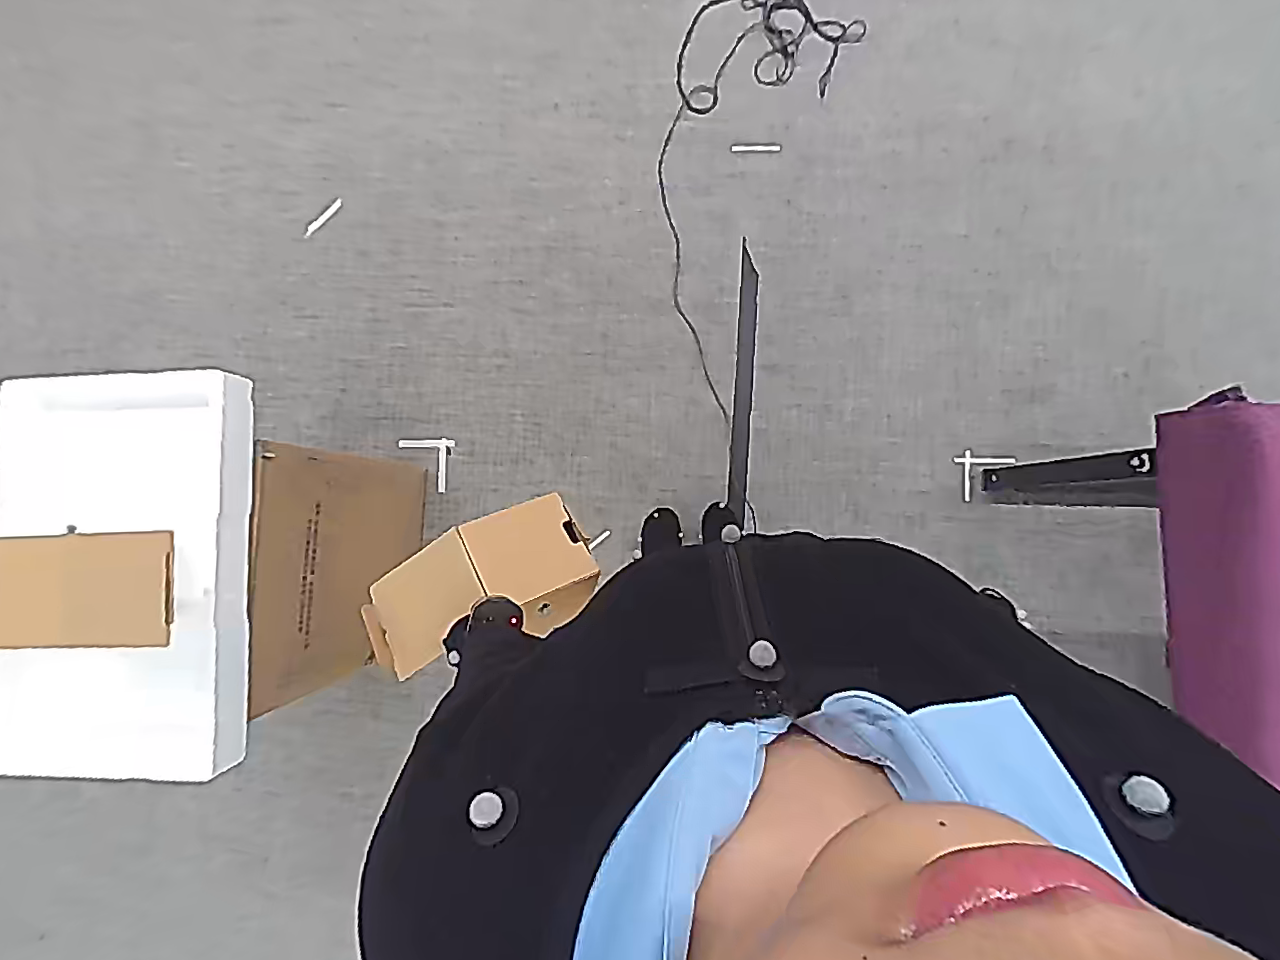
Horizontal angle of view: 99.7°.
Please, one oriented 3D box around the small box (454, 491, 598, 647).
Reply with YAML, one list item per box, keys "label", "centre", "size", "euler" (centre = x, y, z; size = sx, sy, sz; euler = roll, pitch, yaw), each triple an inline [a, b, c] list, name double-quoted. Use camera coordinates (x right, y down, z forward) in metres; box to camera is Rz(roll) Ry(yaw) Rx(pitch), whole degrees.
- label: "small box"
  centre: [-0.190, 0.150, 0.896]
  size: [0.179, 0.176, 0.168]
  euler: [-20, 63, -26]
